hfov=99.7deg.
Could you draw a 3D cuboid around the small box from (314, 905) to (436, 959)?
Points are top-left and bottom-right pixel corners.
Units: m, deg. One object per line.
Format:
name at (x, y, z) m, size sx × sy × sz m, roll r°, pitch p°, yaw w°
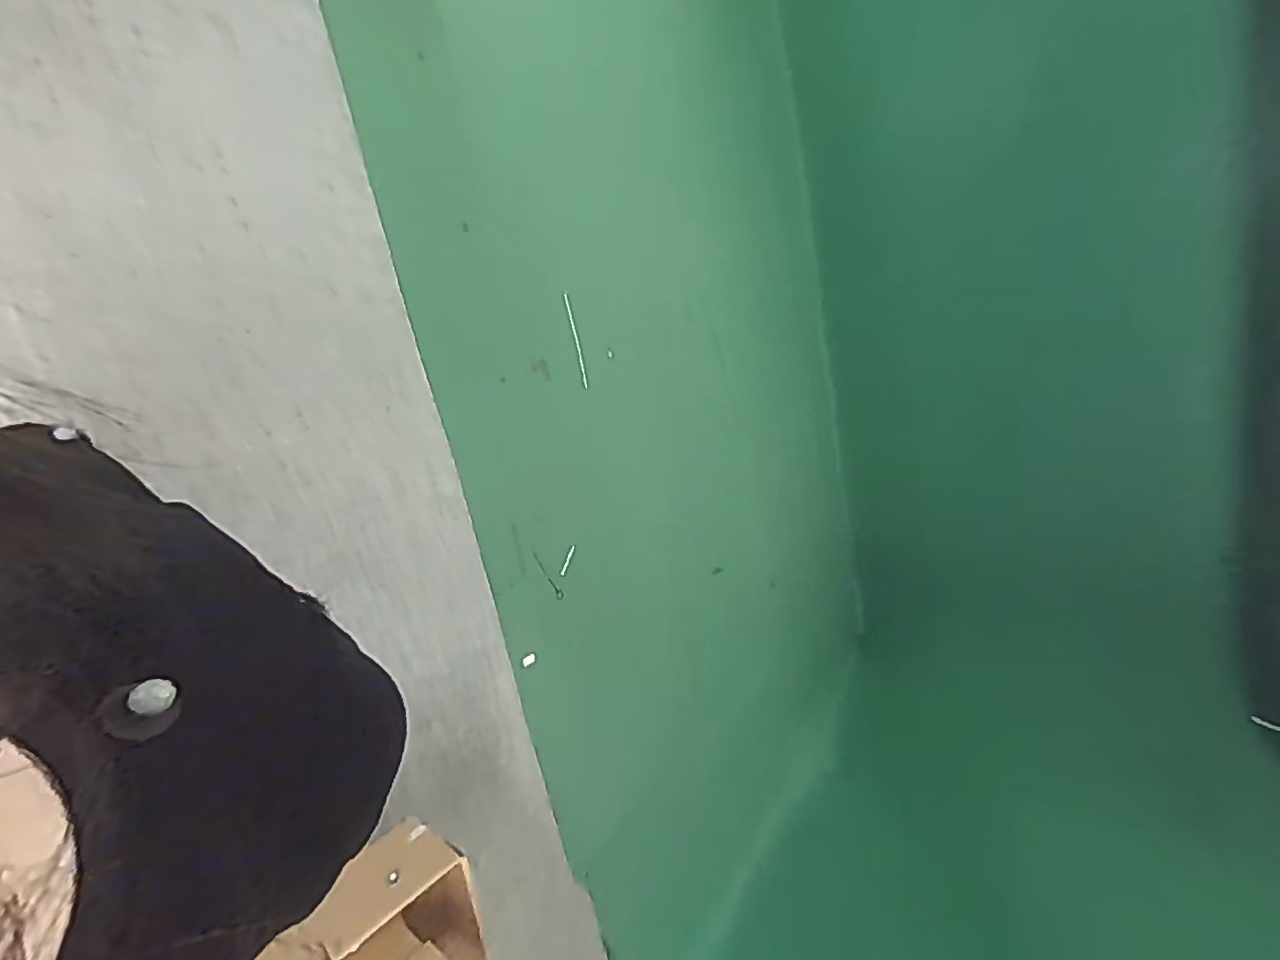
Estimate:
small box at (-0.455, 0.902, 0.936) m, size 0.168 × 0.176 × 0.179 m, roll -21°, pitch 103°, yaw -47°
